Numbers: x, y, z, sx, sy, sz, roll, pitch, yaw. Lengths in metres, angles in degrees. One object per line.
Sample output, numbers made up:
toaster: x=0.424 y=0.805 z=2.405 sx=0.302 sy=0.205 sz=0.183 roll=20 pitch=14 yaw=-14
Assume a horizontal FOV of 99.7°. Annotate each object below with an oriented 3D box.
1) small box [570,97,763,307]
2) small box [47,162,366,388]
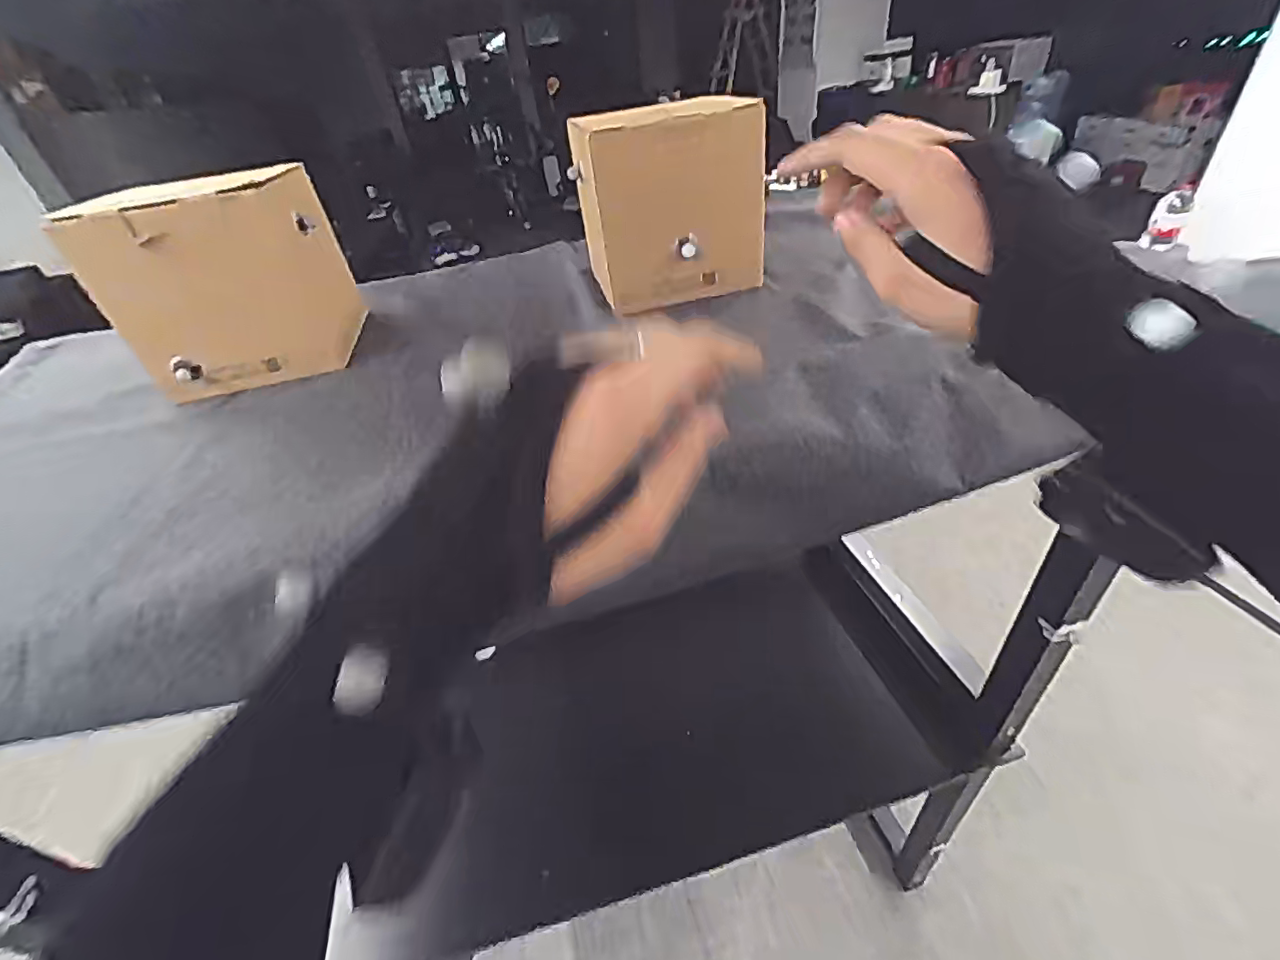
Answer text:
small box: x=0.025 y=-0.308 z=0.596 sx=0.168 sy=0.176 sz=0.179 roll=-13 pitch=38 yaw=-5
small box: x=-0.405 y=-0.206 z=0.552 sx=0.168 sy=0.176 sz=0.179 roll=-14 pitch=37 yaw=-7
